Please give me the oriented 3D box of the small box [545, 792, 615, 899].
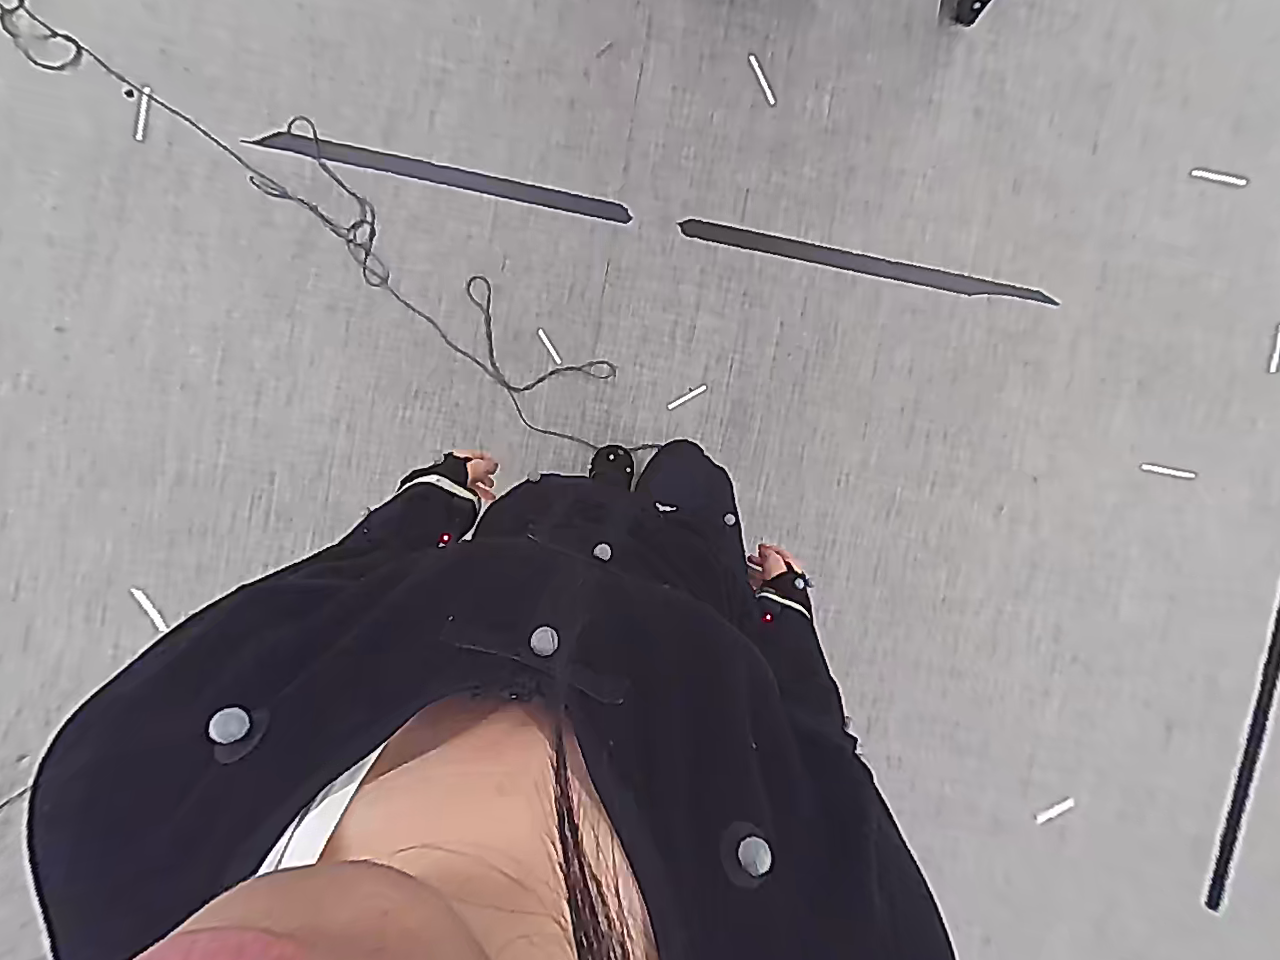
[{"bbox_3d":[-0.155,0.962,1.435,0.168,0.176,0.179,4,92,-1],"label":"small box"}]
